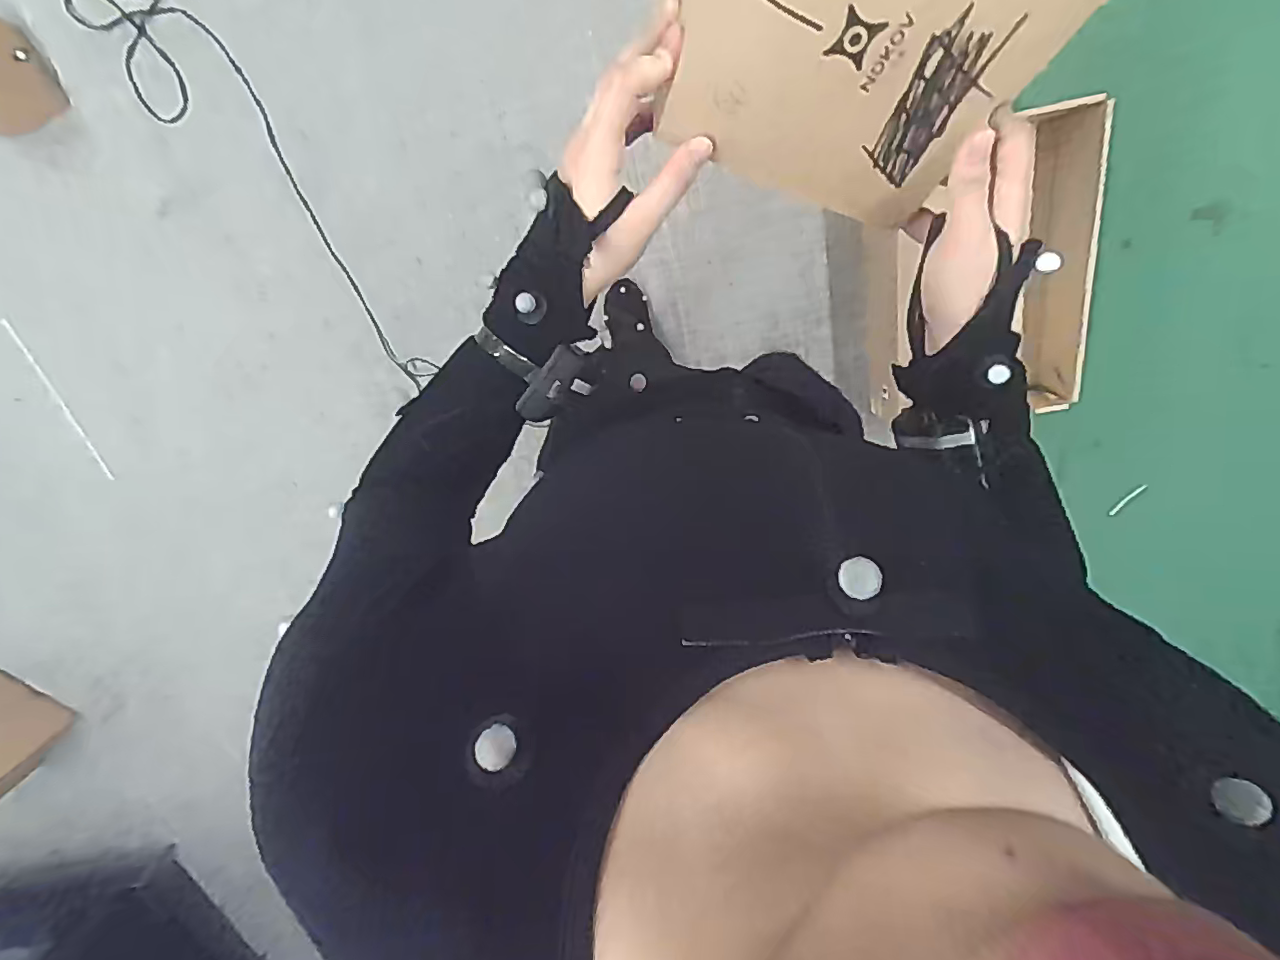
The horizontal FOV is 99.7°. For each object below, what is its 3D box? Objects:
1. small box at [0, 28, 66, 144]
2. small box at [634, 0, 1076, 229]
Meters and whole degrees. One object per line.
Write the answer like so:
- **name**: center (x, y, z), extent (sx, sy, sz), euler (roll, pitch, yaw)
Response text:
- **small box**: center (-1.400, -0.840, 1.137), extent (0.179, 0.176, 0.168), euler (-20, 111, 9)
- **small box**: center (0.104, -0.286, 0.307), extent (0.179, 0.176, 0.168), euler (8, 154, -15)
